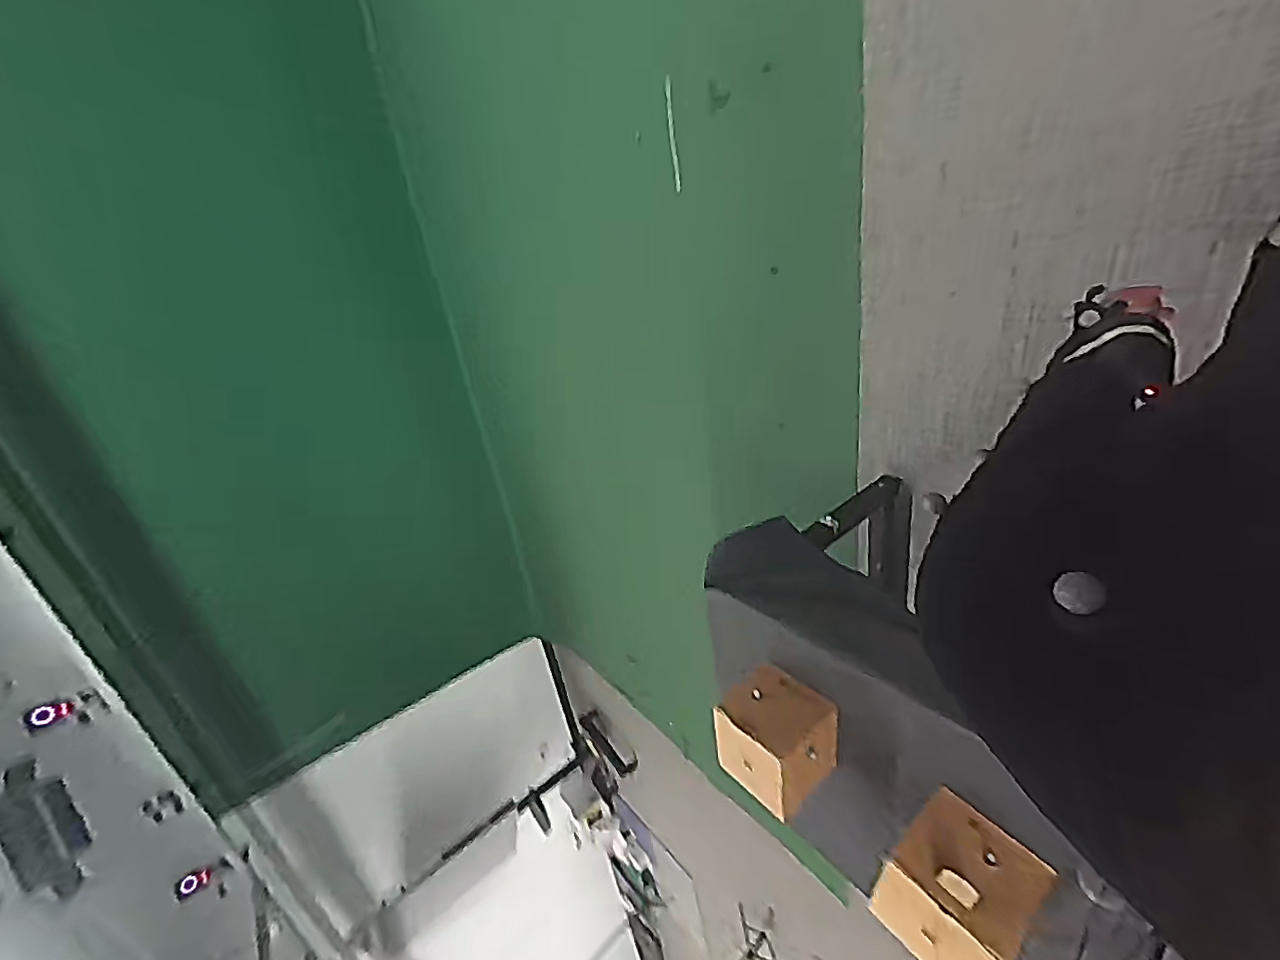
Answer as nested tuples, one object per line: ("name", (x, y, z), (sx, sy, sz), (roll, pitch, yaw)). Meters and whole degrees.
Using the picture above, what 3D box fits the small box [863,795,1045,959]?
("small box", (0.469, 0.631, 0.816), (0.168, 0.176, 0.179), (31, 135, 42))

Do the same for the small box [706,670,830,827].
("small box", (0.251, 0.507, 1.047), (0.168, 0.176, 0.179), (23, 131, 48))
